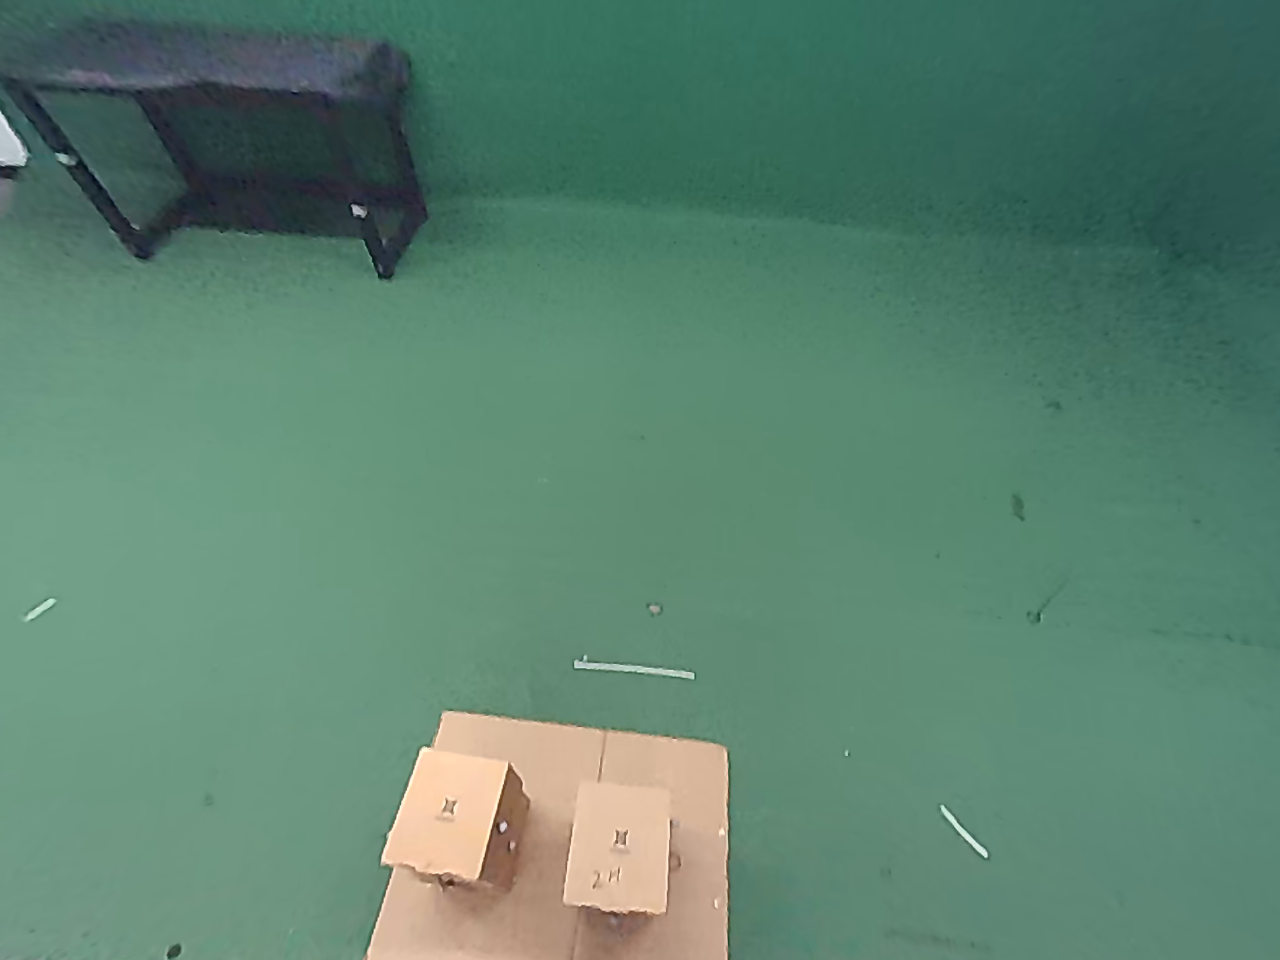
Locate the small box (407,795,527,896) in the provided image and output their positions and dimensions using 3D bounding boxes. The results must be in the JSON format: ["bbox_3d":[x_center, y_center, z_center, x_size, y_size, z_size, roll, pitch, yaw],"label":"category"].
[{"bbox_3d":[-0.337,0.721,1.094,0.168,0.176,0.179,7,50,4],"label":"small box"}]

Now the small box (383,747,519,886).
[{"bbox_3d":[-0.326,0.610,0.976,0.168,0.176,0.179,8,51,4],"label":"small box"}]

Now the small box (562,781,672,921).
[{"bbox_3d":[-0.036,0.653,0.950,0.168,0.176,0.179,5,50,3],"label":"small box"}]
